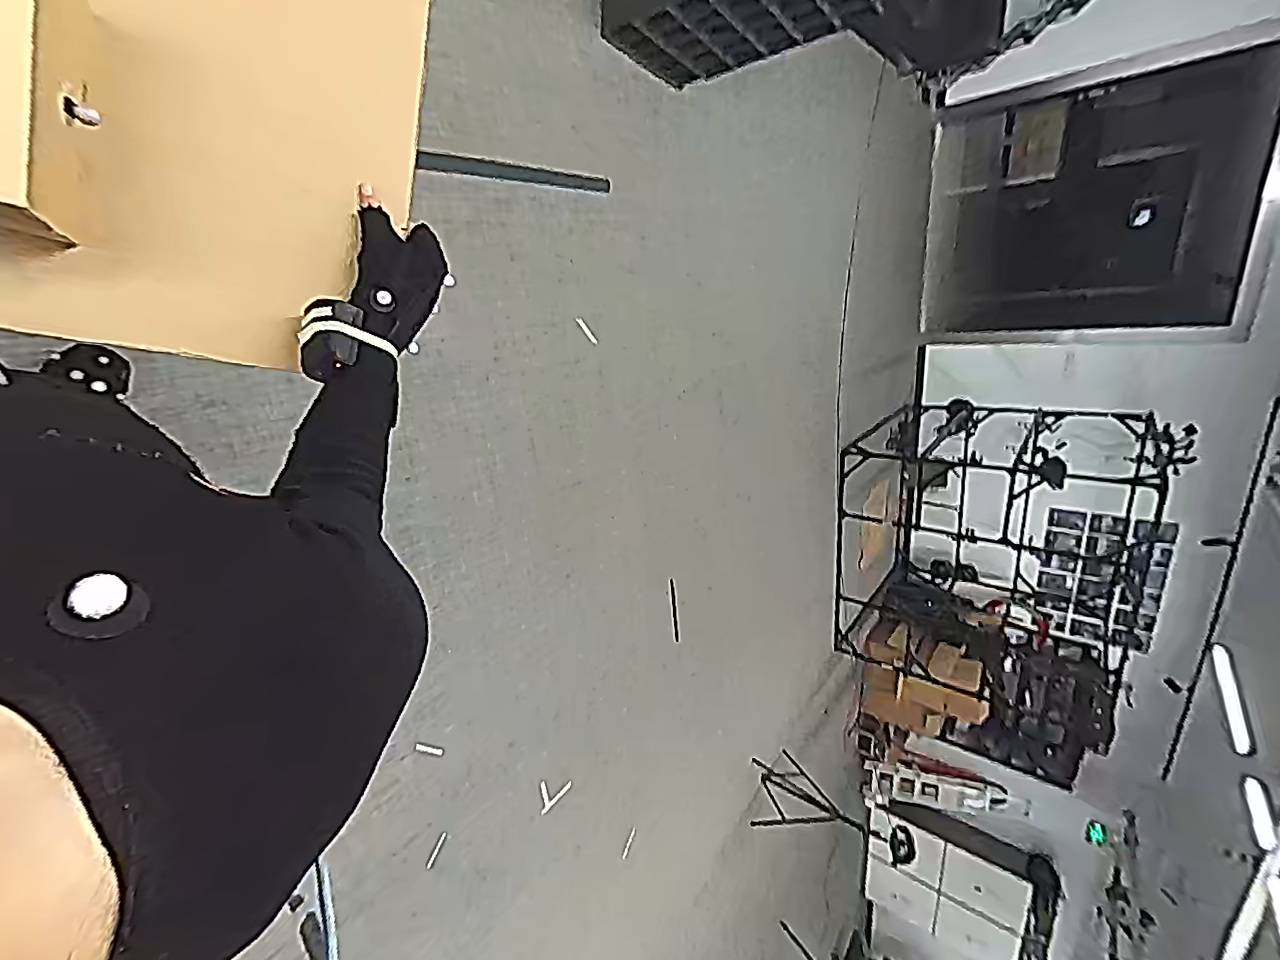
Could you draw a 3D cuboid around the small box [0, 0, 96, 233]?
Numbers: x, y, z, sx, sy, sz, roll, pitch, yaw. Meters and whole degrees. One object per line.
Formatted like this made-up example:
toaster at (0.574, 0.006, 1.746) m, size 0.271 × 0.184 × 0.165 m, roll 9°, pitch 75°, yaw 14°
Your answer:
small box at (-0.430, -0.250, 0.293) m, size 0.179 × 0.176 × 0.168 m, roll 6°, pitch 98°, yaw -40°
